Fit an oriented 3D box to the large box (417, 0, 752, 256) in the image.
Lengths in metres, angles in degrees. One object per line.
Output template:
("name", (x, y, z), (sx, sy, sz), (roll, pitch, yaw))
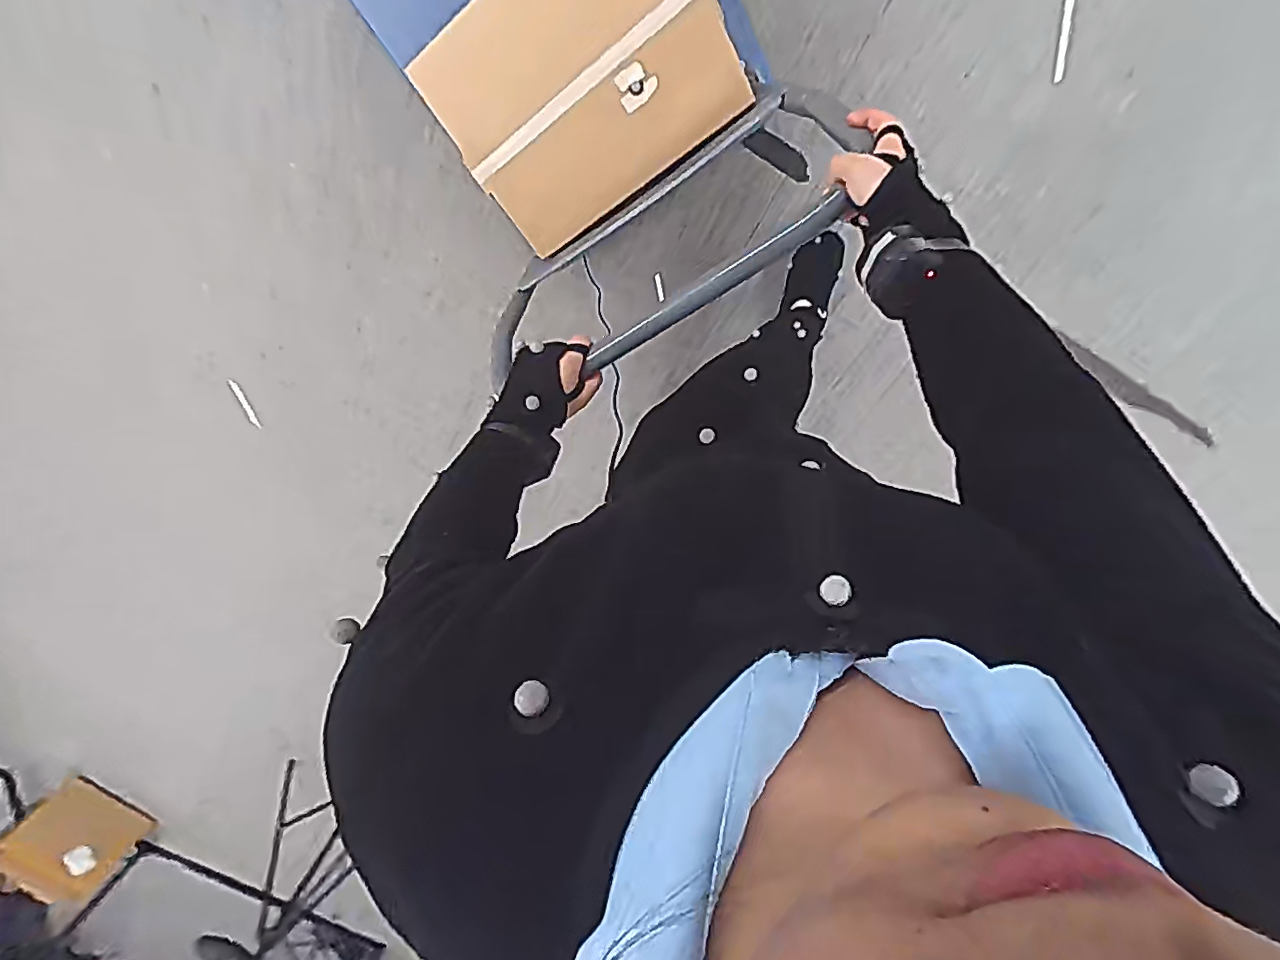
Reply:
("large box", (-0.078, -0.656, 0.906), (0.408, 0.320, 0.320), (-29, 120, 20))
